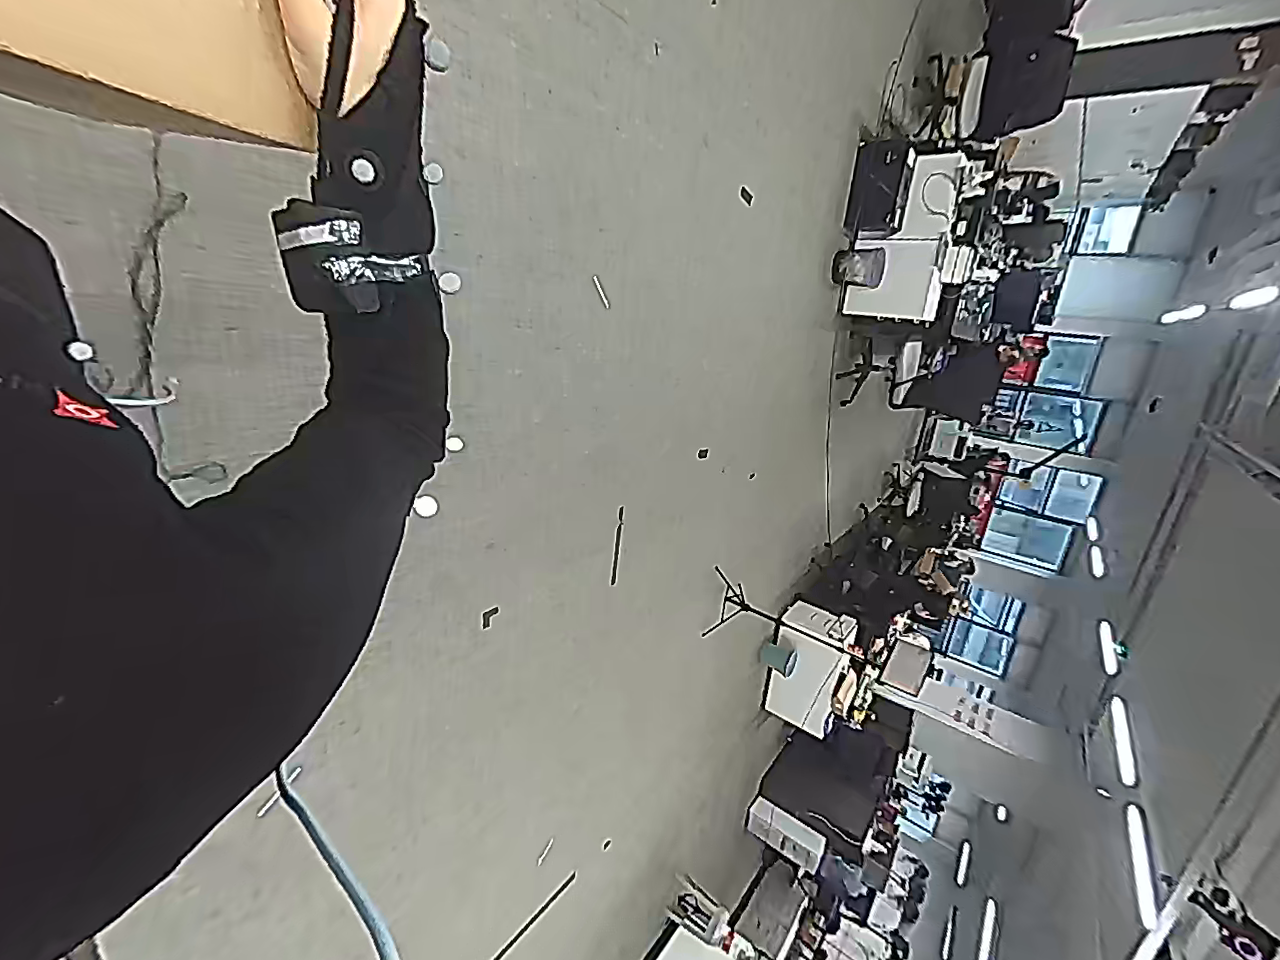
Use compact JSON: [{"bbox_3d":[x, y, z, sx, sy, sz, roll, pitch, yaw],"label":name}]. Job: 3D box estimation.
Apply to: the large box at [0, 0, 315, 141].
[{"bbox_3d":[-0.393,-0.357,0.175,0.408,0.320,0.320,-20,128,-58],"label":"large box"}]
